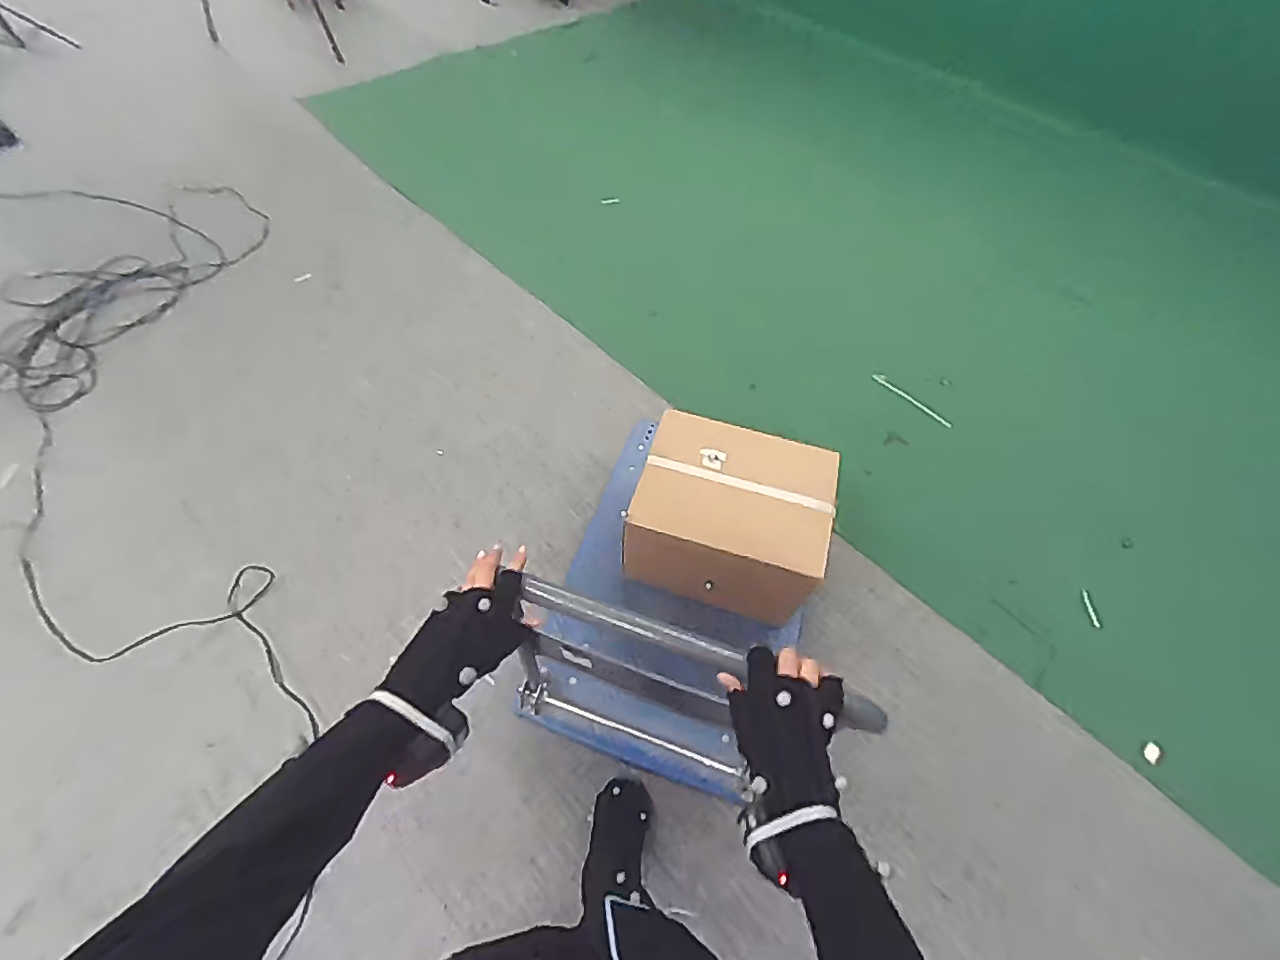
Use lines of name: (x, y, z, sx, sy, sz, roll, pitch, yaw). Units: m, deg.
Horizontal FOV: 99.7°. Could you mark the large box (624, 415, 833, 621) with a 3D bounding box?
large box: (0.198, 0.096, 1.273, 0.408, 0.320, 0.320, 15, 58, 8)
